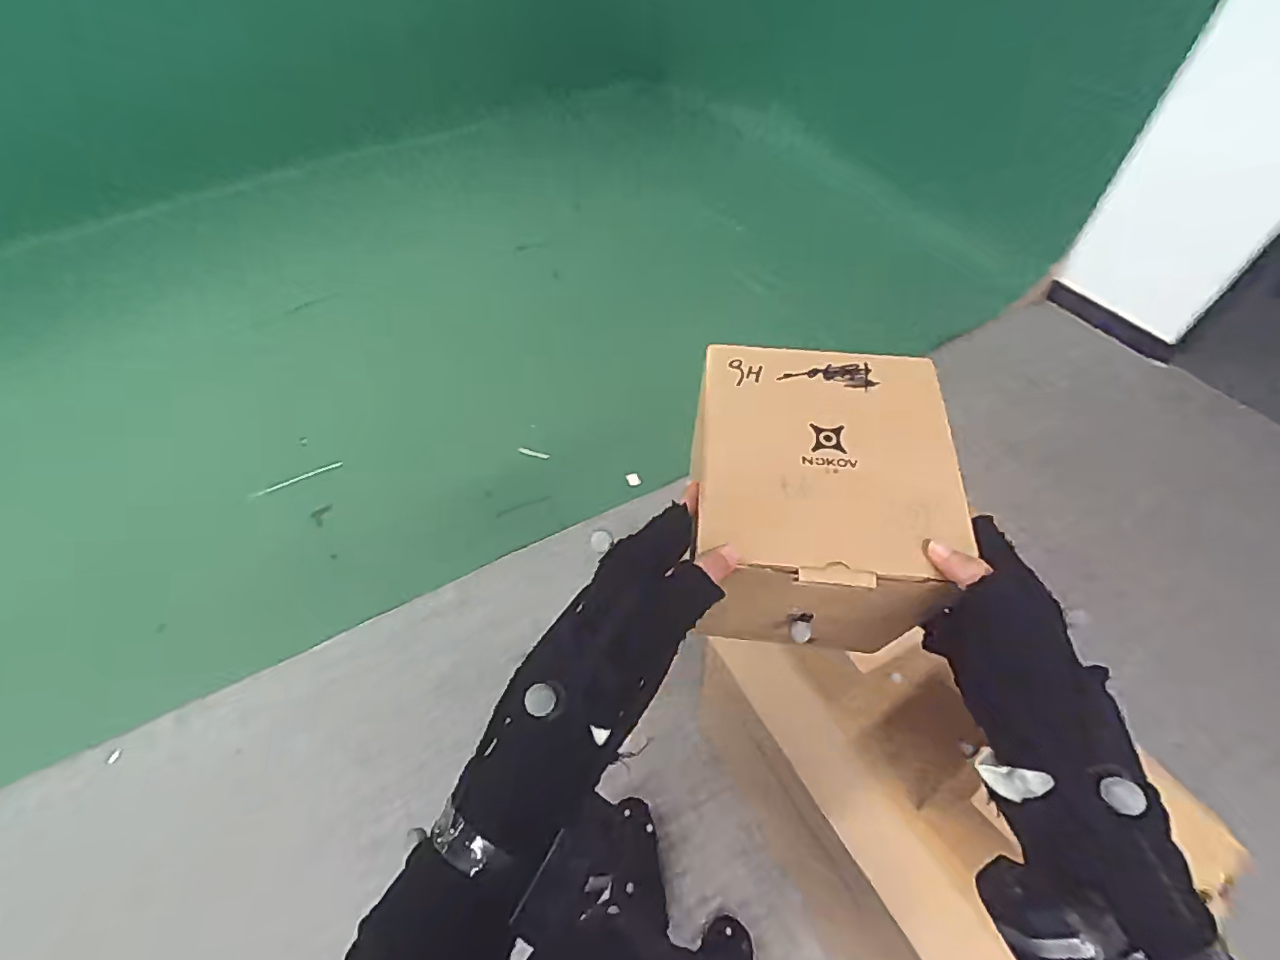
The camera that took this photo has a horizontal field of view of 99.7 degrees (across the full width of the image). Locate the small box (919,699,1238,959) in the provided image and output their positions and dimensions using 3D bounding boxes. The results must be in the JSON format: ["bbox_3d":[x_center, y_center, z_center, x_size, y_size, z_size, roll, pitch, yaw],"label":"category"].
[{"bbox_3d":[0.446,0.376,0.585,0.168,0.176,0.179,-33,56,-16],"label":"small box"}]

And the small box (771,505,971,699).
[{"bbox_3d":[0.298,0.172,0.746,0.168,0.176,0.179,-25,56,-9],"label":"small box"}]
